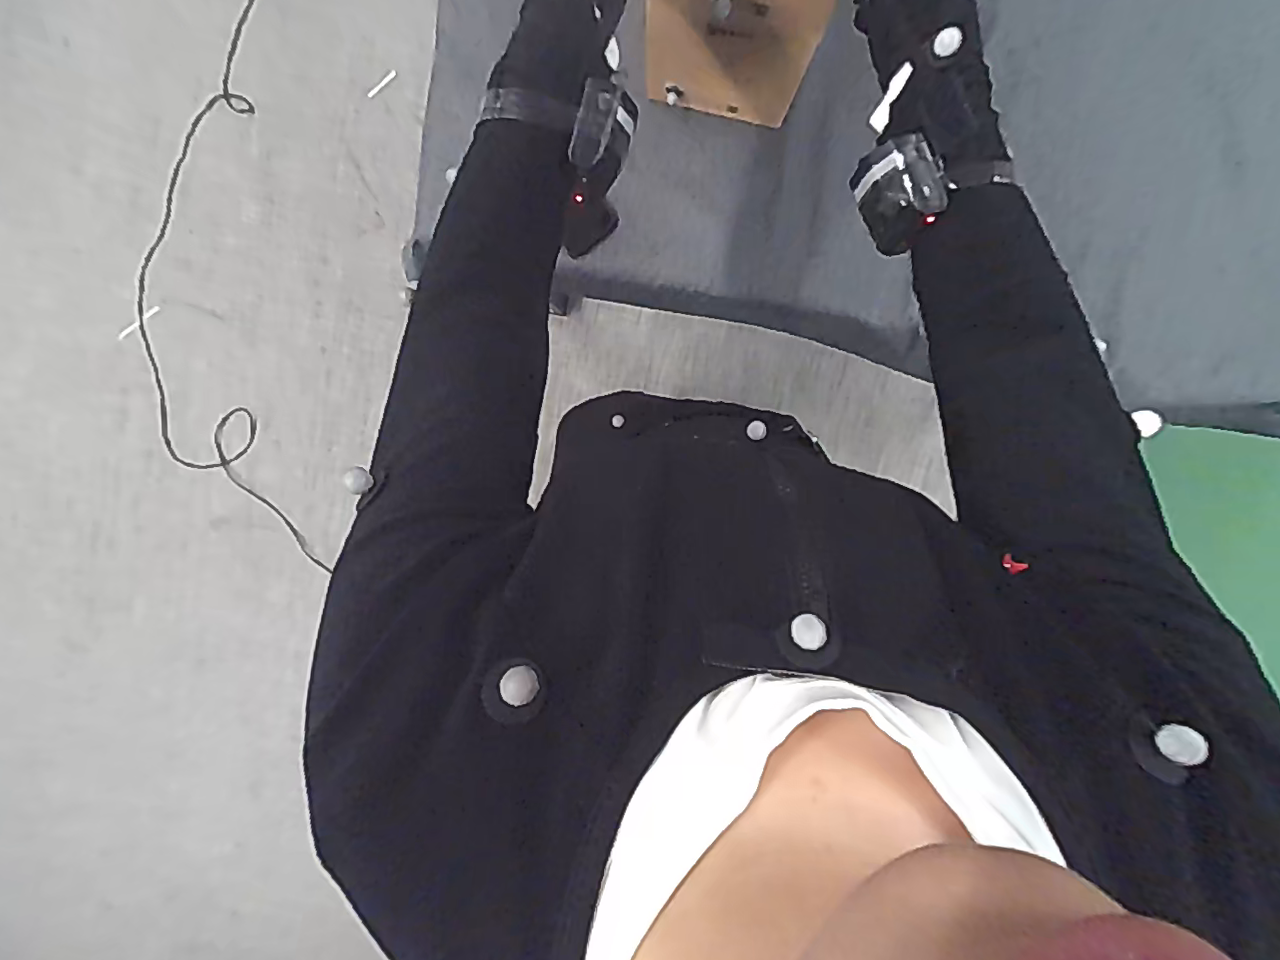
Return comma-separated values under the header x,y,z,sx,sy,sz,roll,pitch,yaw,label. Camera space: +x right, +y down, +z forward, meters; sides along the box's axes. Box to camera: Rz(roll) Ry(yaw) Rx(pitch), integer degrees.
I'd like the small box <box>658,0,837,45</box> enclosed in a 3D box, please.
x,y,z,sx,sy,sz,roll,pitch,yaw,label
0.101,-0.485,0.401,0.168,0.176,0.179,13,99,-1,small box

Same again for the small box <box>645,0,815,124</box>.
x,y,z,sx,sy,sz,roll,pitch,yaw,label
0.106,-0.512,0.561,0.168,0.176,0.179,13,97,-1,small box
